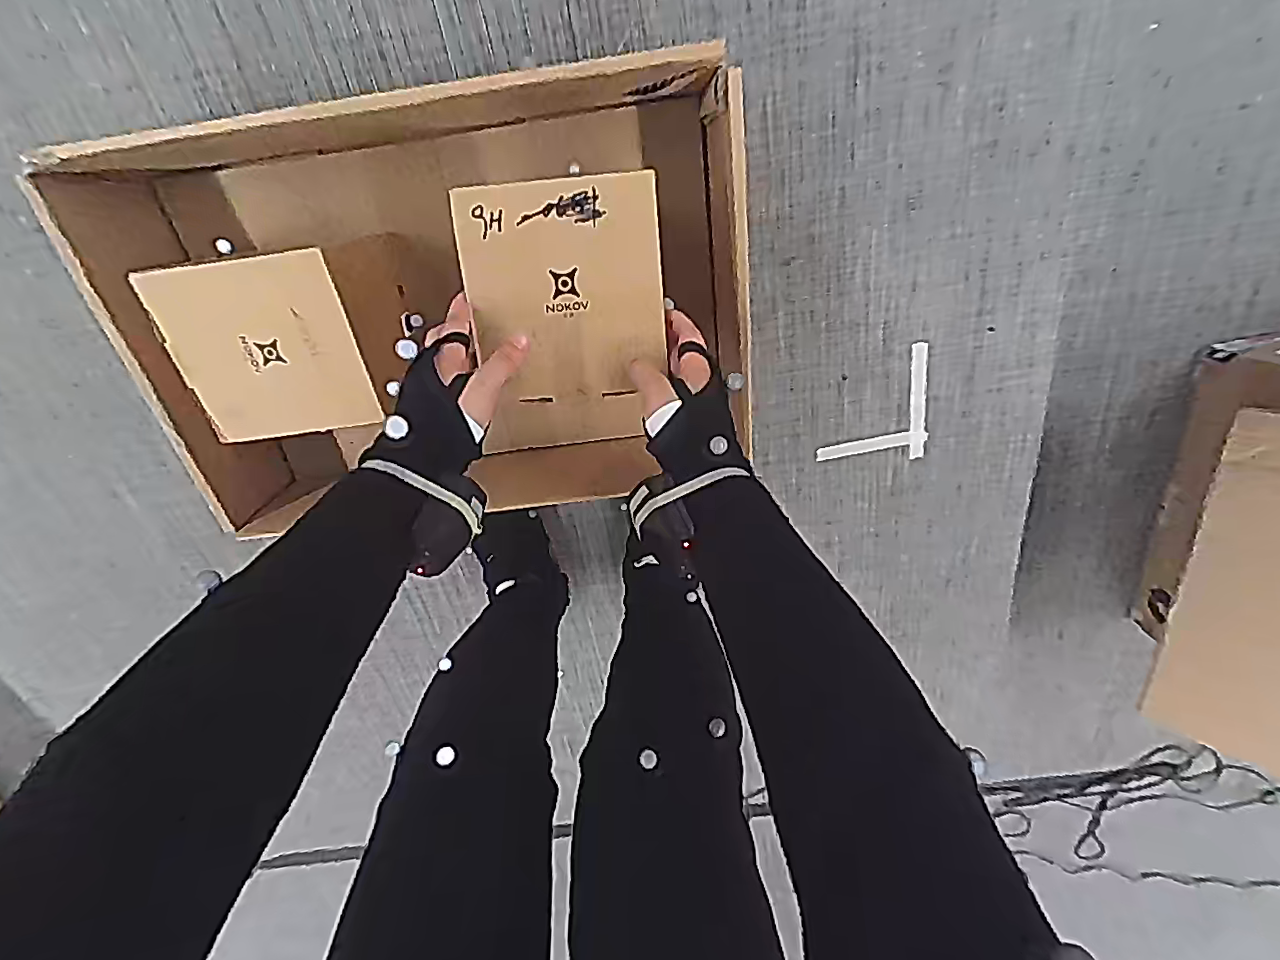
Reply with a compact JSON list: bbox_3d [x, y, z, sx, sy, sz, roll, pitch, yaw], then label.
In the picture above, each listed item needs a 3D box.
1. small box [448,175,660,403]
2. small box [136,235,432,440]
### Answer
[{"bbox_3d":[-0.068,-0.184,0.536,0.168,0.176,0.179,-5,109,1],"label":"small box"},{"bbox_3d":[-0.352,-0.158,0.579,0.179,0.176,0.168,-8,119,1],"label":"small box"}]
